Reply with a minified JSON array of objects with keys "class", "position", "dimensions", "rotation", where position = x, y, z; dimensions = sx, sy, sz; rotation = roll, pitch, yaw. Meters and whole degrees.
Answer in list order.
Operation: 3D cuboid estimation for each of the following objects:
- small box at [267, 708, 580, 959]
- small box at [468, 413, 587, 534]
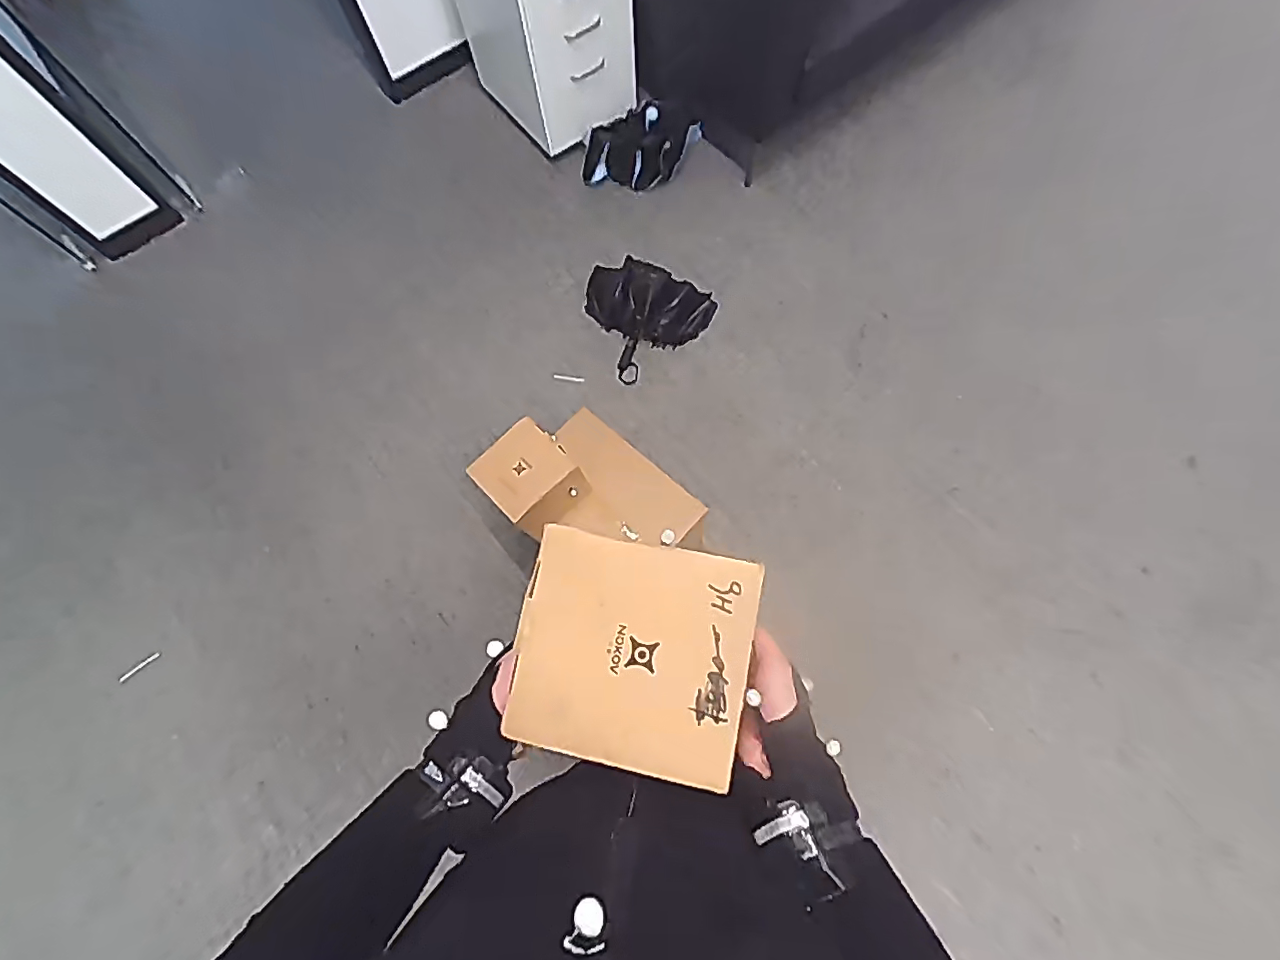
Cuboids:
[{"class":"small box","position":[-0.170,0.324,0.456],"dimensions":[0.176,0.179,0.168],"rotation":[-3,95,32]},{"class":"small box","position":[-0.233,-0.007,1.182],"dimensions":[0.168,0.176,0.179],"rotation":[43,82,17]}]
